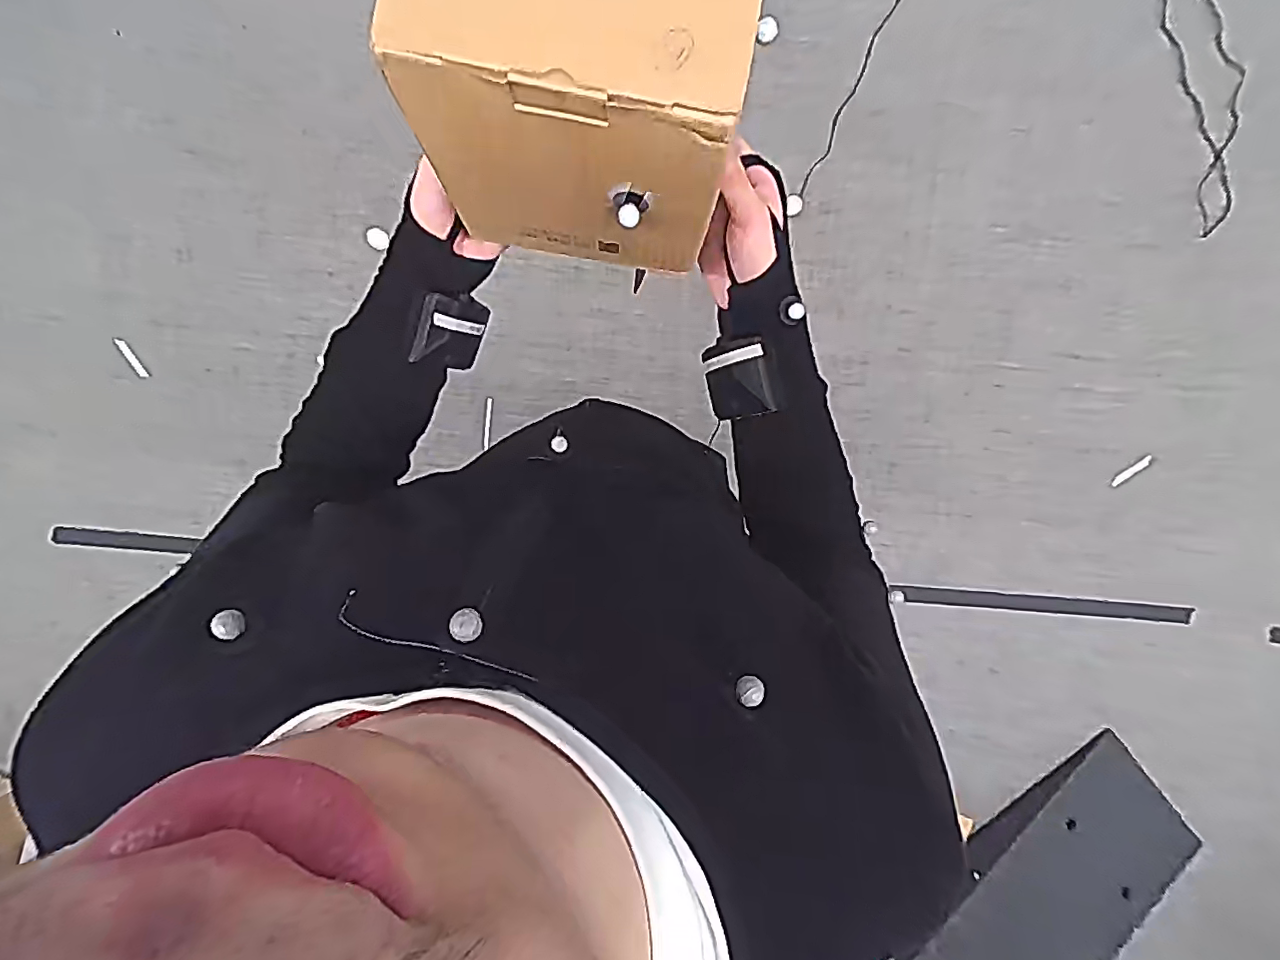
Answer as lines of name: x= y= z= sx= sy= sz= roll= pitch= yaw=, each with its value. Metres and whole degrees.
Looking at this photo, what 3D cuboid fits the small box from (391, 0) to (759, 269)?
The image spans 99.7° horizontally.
small box: x=-0.024 y=-0.256 z=0.331 sx=0.168 sy=0.176 sz=0.179 roll=10 pitch=86 yaw=-3
